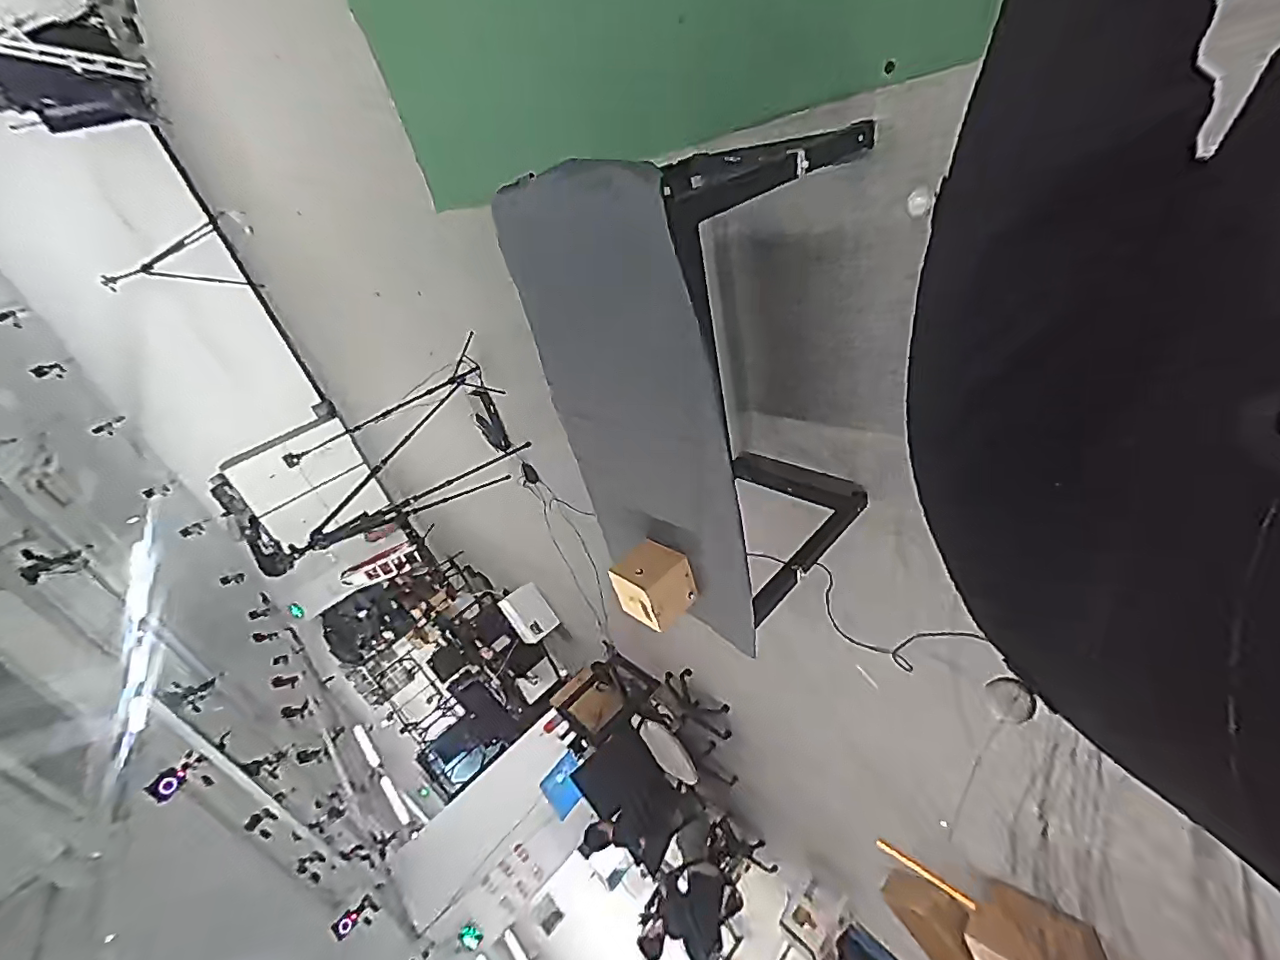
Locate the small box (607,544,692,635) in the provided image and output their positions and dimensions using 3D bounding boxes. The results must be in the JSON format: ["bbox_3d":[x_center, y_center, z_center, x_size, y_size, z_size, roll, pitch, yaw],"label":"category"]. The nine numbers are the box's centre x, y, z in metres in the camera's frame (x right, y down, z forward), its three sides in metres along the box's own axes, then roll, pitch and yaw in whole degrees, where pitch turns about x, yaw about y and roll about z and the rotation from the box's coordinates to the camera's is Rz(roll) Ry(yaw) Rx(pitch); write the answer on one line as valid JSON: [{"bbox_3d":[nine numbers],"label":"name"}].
[{"bbox_3d":[0.036,0.313,1.589,0.179,0.176,0.168,18,135,47],"label":"small box"}]
